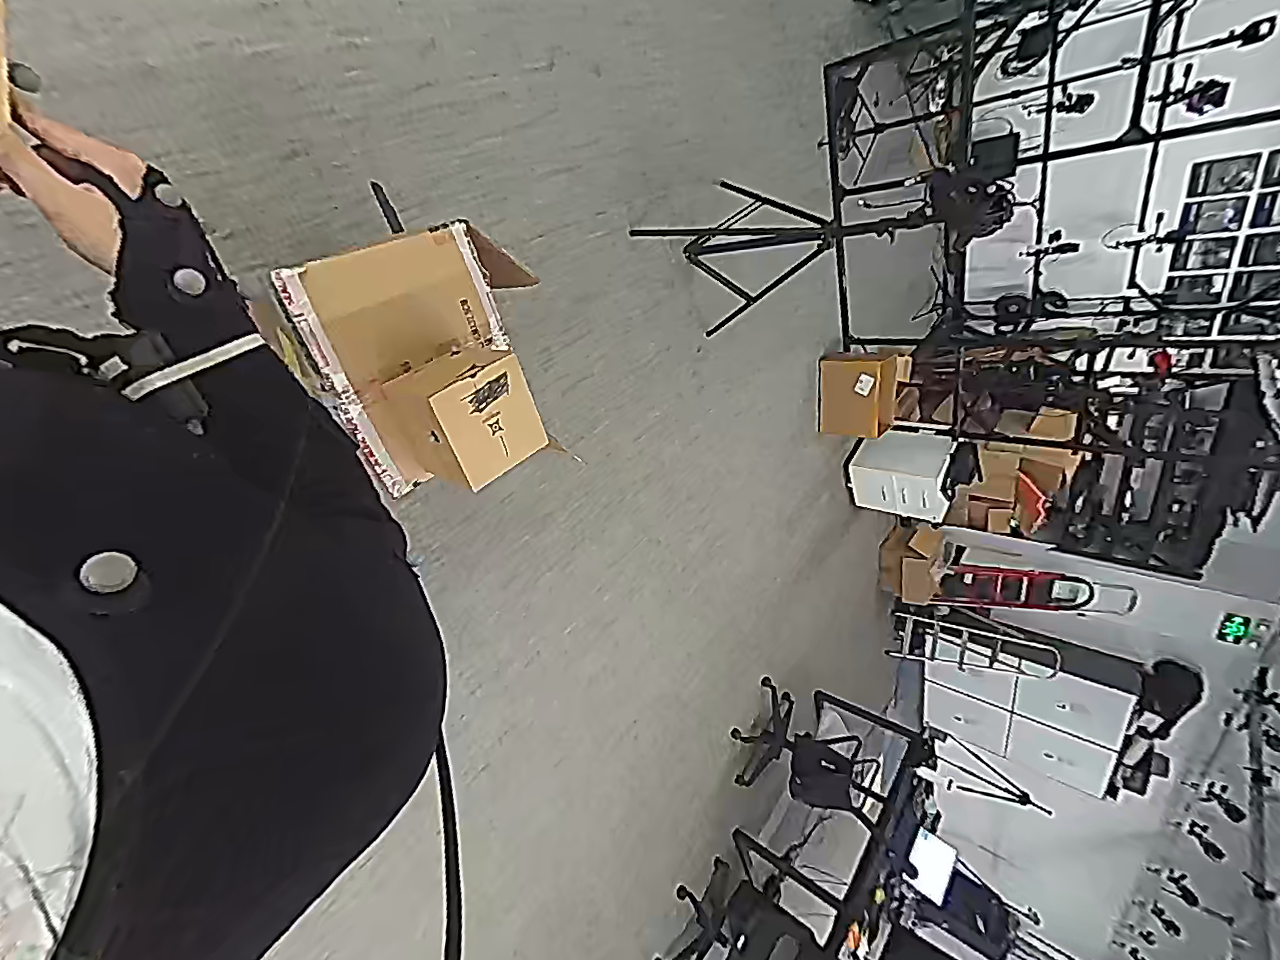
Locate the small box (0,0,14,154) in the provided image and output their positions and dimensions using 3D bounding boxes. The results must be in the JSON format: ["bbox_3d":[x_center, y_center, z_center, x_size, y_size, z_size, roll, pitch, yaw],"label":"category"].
[{"bbox_3d":[-0.467,-0.285,0.282,0.179,0.176,0.168,-3,102,-50],"label":"small box"}]

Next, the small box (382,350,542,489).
[{"bbox_3d":[-0.302,-0.112,0.921,0.168,0.176,0.179,-39,129,-33],"label":"small box"}]
